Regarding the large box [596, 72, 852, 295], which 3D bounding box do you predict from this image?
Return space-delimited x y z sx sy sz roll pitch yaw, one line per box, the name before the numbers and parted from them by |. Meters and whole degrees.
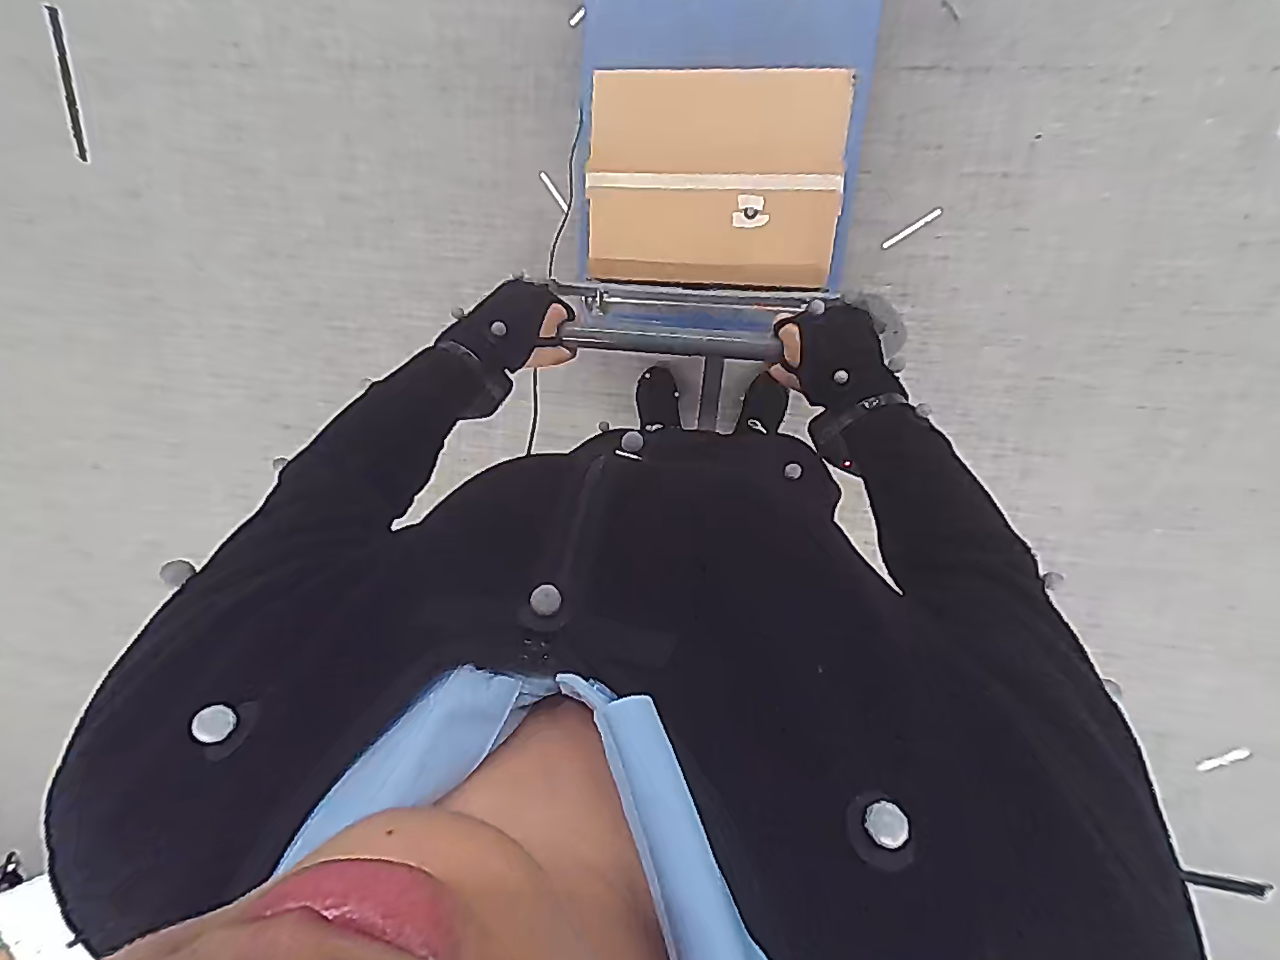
large box | 0.142 -0.527 1.030 0.408 0.320 0.320 5 107 7
